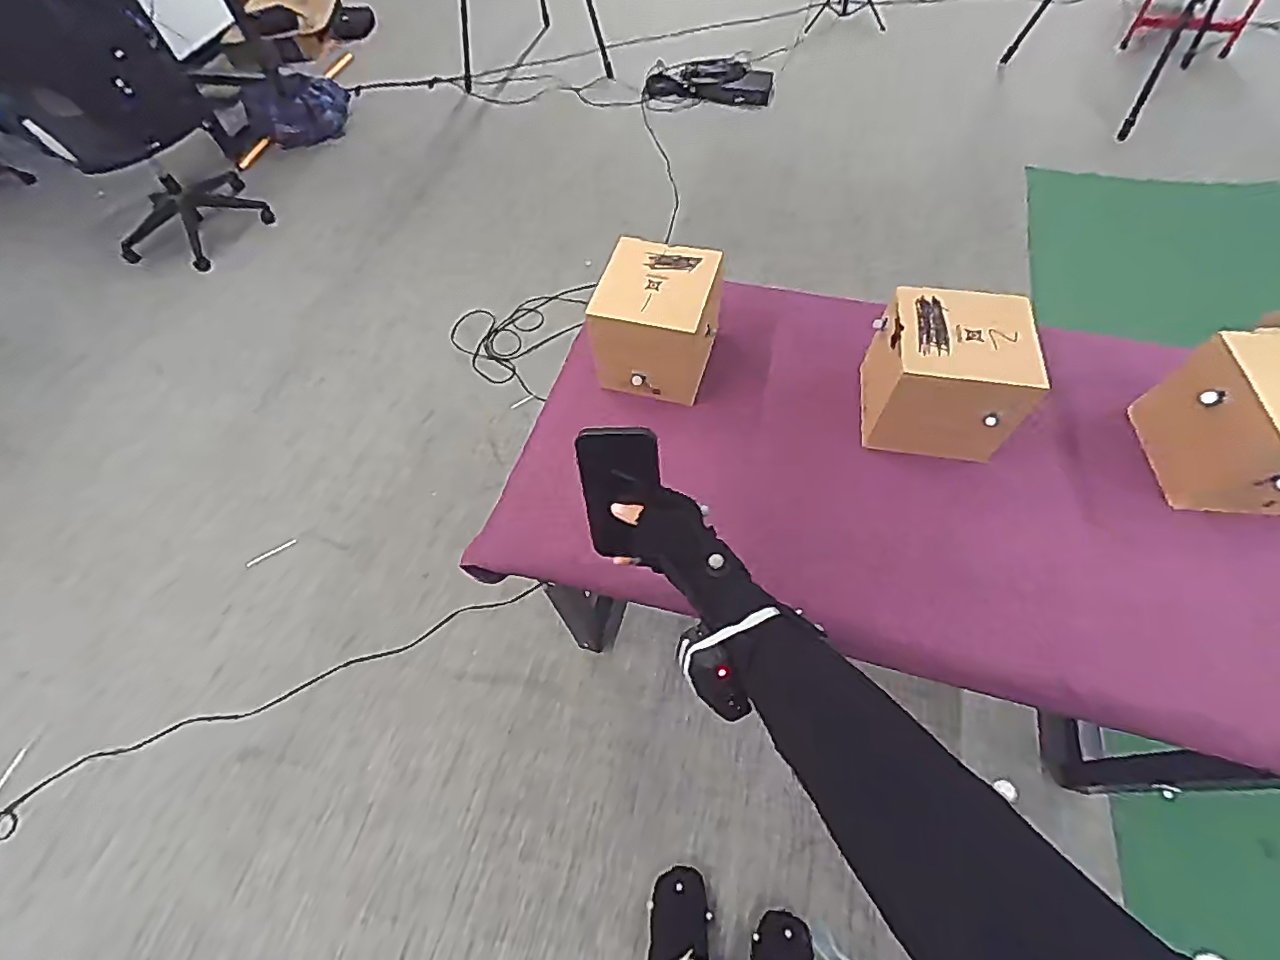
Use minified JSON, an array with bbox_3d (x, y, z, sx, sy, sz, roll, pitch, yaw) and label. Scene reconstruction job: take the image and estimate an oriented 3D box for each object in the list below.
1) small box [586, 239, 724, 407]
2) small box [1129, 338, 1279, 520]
[{"bbox_3d":[0.028,-0.246,0.861,0.168,0.176,0.179,14,63,11],"label":"small box"},{"bbox_3d":[0.805,-0.060,0.703,0.168,0.176,0.179,3,59,6],"label":"small box"}]
